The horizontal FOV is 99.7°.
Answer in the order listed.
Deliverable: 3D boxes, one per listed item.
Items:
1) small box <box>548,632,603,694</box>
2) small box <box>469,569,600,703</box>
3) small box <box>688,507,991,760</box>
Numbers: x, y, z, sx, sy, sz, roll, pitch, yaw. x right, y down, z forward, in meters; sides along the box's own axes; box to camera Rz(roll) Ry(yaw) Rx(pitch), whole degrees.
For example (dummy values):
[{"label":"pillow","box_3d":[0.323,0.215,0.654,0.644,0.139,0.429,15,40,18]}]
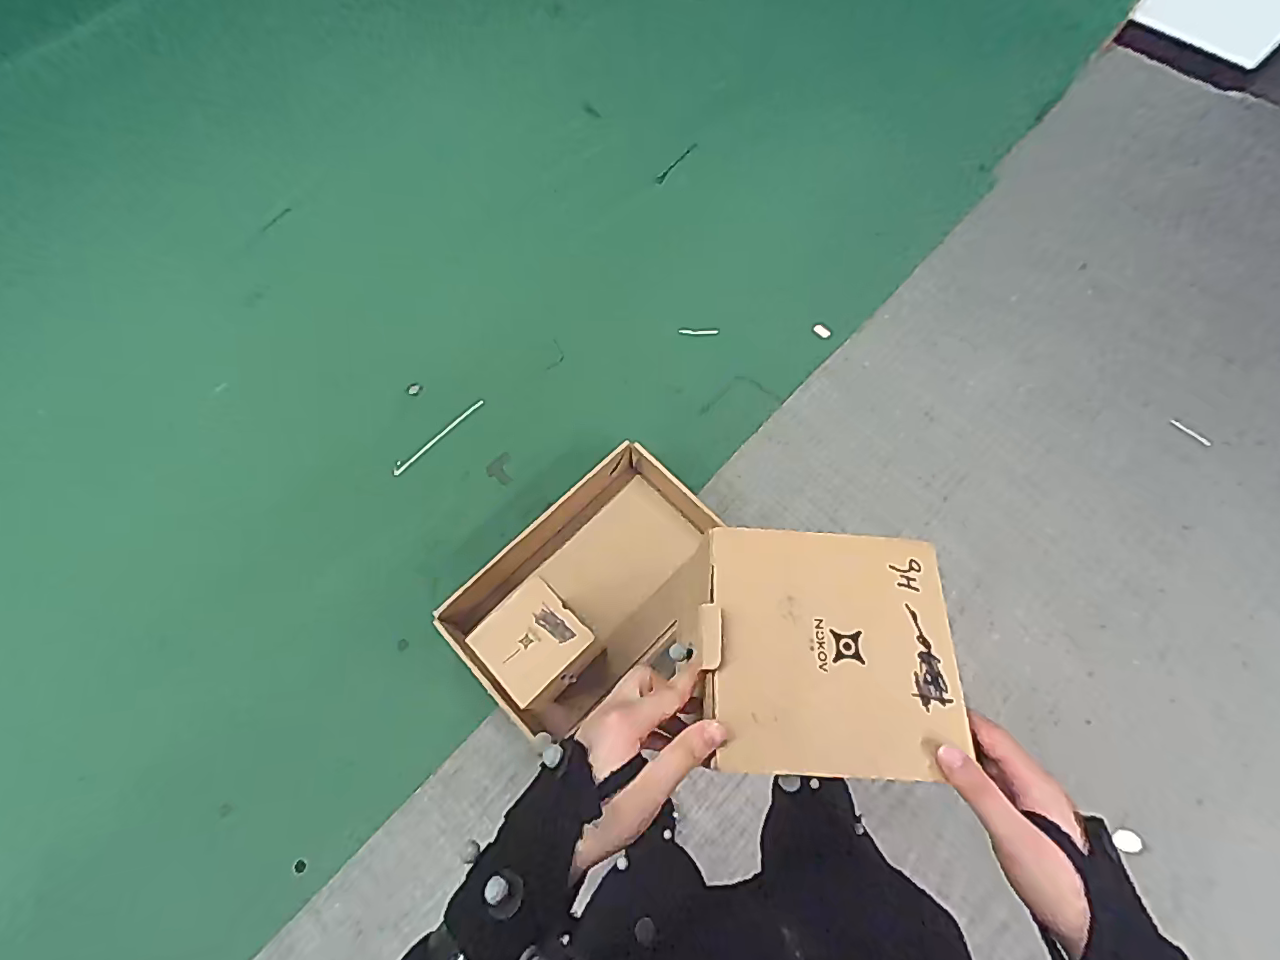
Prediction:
[{"label":"small box","box_3d":[-0.194,0.356,1.196,0.179,0.176,0.168,-42,76,-15]},{"label":"small box","box_3d":[-0.191,0.301,1.041,0.179,0.176,0.168,-42,75,-13]},{"label":"small box","box_3d":[0.136,0.134,0.446,0.179,0.176,0.168,5,64,-3]}]
